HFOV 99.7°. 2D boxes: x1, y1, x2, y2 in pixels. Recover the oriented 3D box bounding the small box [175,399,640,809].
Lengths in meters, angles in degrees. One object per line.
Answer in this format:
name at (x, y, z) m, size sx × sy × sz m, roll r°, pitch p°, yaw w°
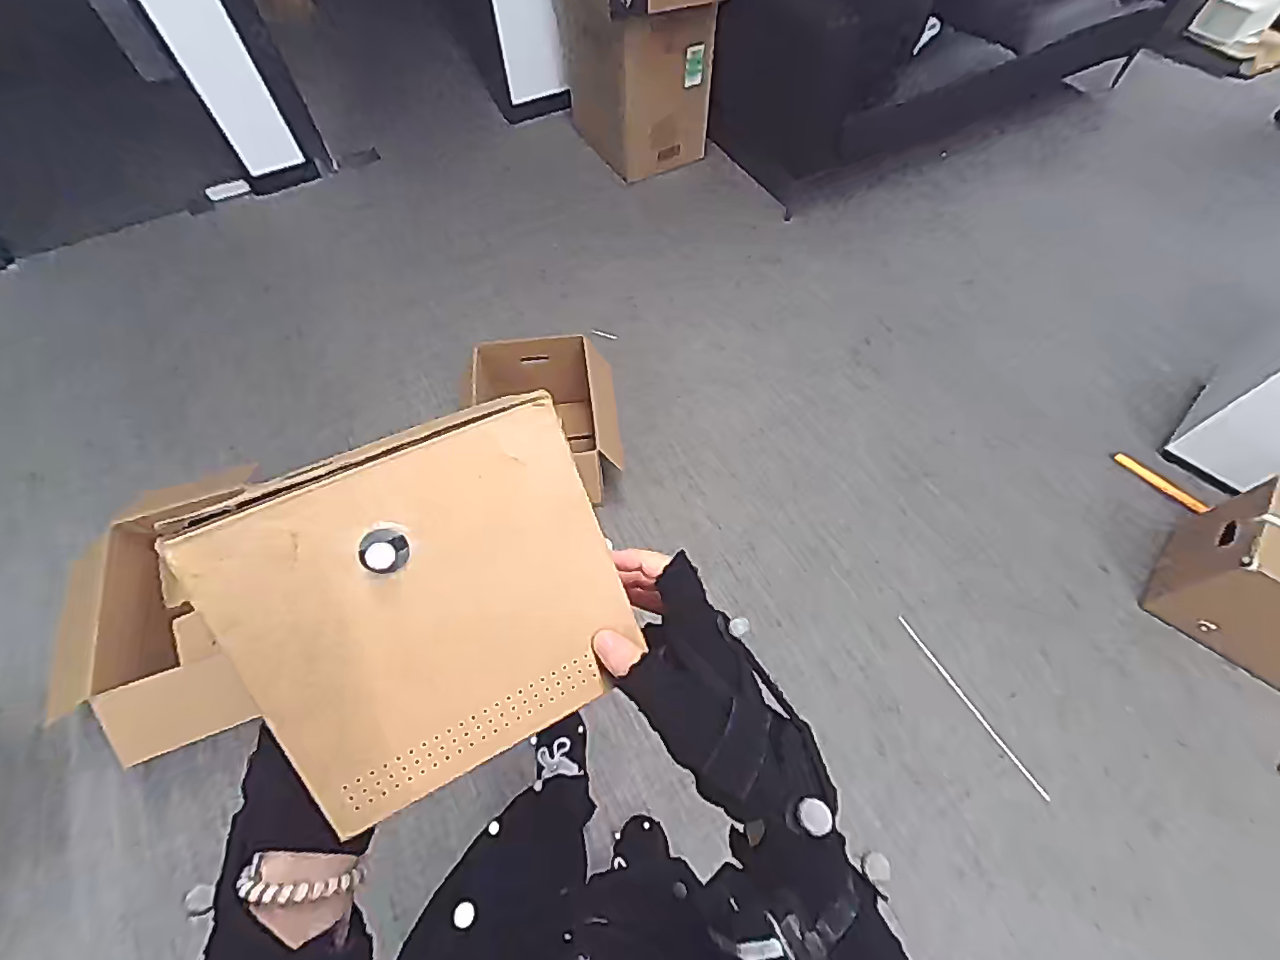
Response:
small box at (-0.125, 0.058, 0.347) m, size 0.179 × 0.168 × 0.176 m, roll -24°, pitch 106°, yaw -17°
